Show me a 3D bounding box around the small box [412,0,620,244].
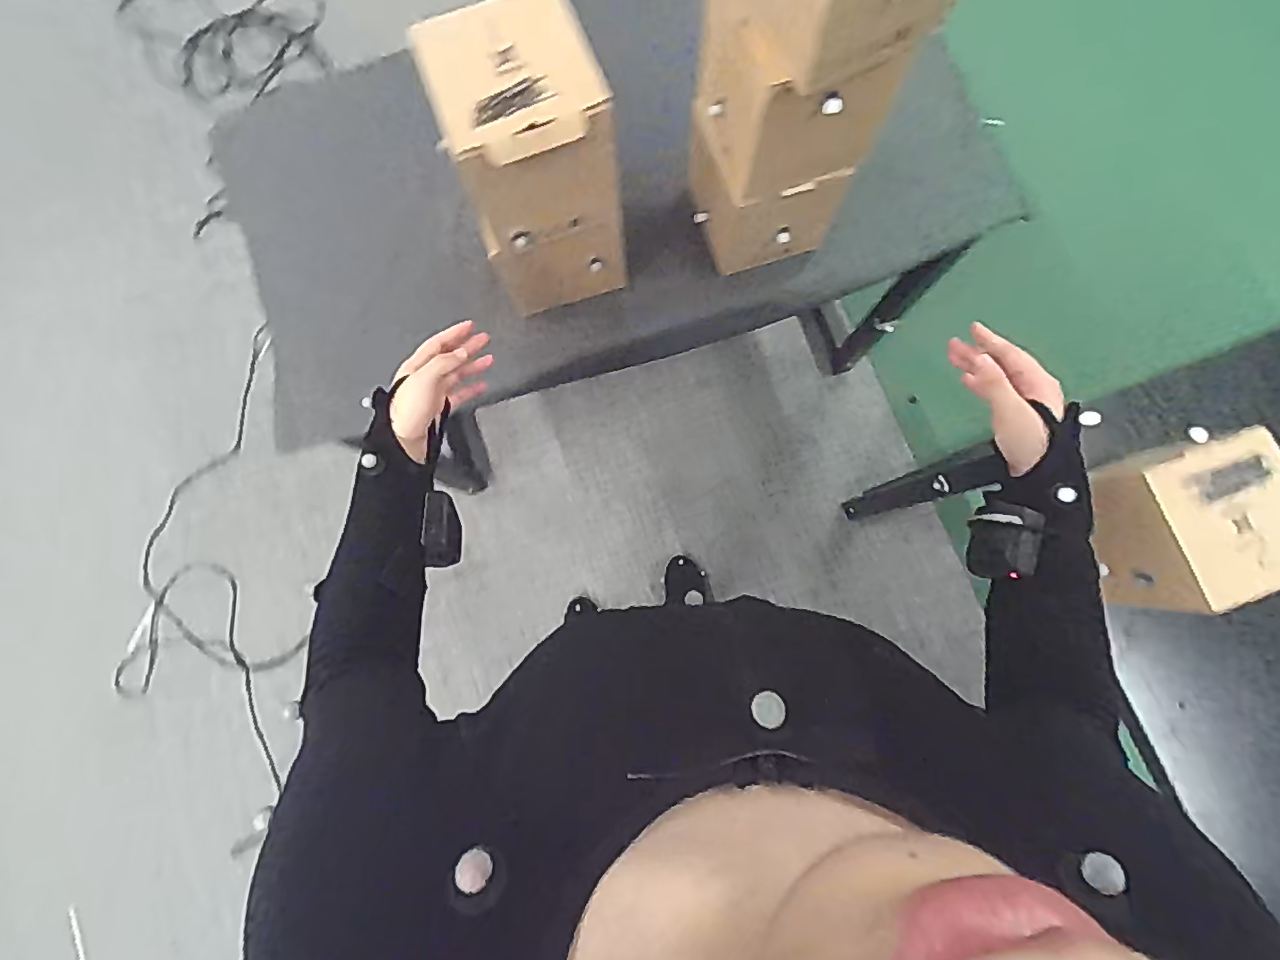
[{"bbox_3d":[-0.130,-0.405,0.627,0.168,0.176,0.179,-21,78,-2],"label":"small box"}]

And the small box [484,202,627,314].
[{"bbox_3d":[-0.122,-0.372,0.788,0.179,0.176,0.168,-18,79,0],"label":"small box"}]

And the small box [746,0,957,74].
[{"bbox_3d":[0.191,-0.498,0.463,0.168,0.176,0.179,-27,79,-2],"label":"small box"}]

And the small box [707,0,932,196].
[{"bbox_3d":[0.188,-0.473,0.626,0.179,0.176,0.168,-19,79,0],"label":"small box"}]

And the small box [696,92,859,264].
[{"bbox_3d":[0.186,-0.441,0.786,0.168,0.176,0.179,-17,80,-1],"label":"small box"}]
